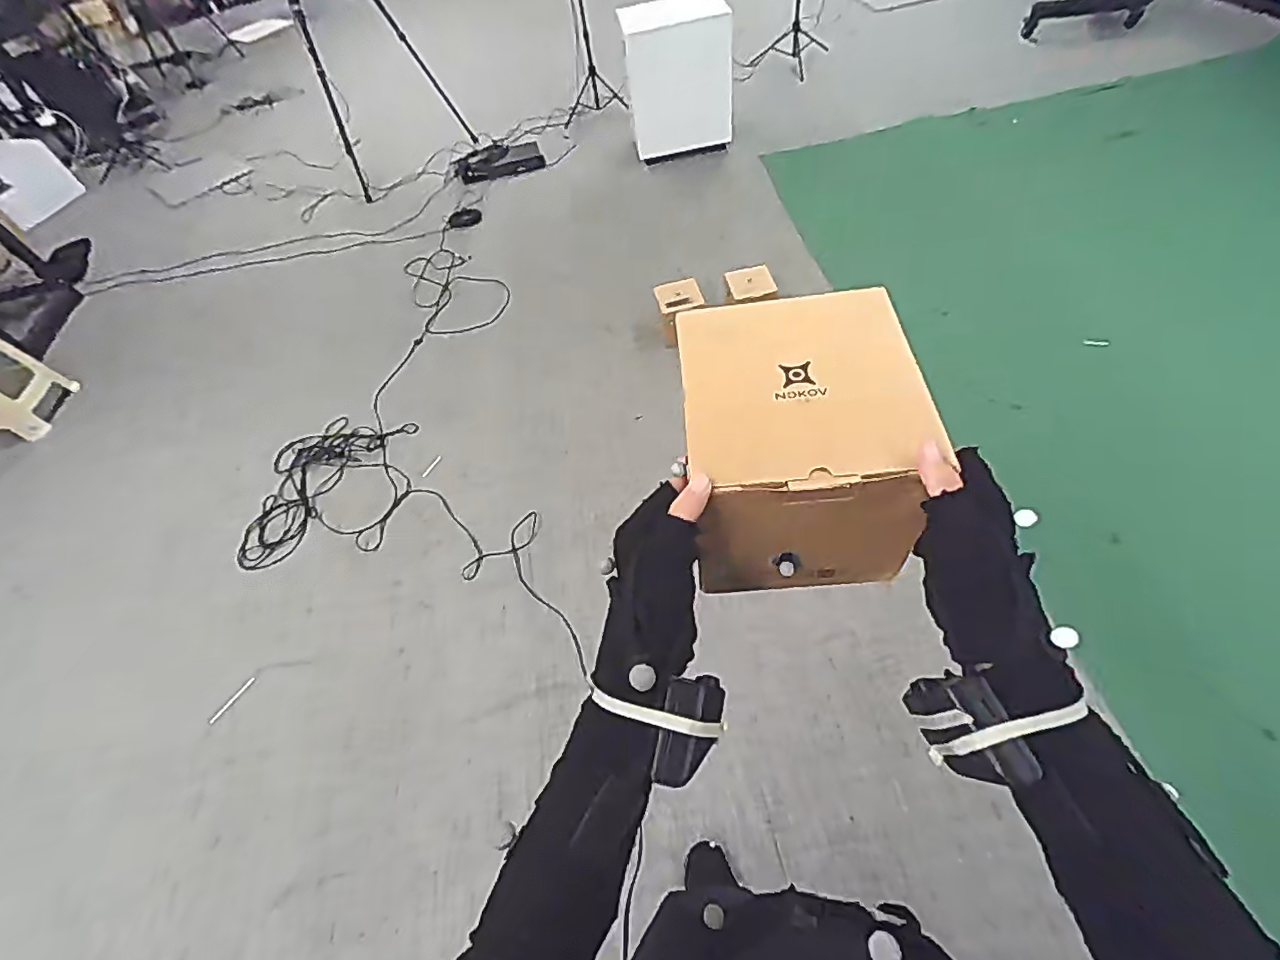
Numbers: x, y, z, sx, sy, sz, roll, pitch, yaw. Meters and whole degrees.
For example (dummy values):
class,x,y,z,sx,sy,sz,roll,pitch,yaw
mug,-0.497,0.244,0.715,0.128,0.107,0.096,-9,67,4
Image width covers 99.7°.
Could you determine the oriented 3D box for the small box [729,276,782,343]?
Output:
class,x,y,z,sx,sy,sz,roll,pitch,yaw
small box,0.448,-0.672,2.131,0.168,0.176,0.179,-12,54,2
